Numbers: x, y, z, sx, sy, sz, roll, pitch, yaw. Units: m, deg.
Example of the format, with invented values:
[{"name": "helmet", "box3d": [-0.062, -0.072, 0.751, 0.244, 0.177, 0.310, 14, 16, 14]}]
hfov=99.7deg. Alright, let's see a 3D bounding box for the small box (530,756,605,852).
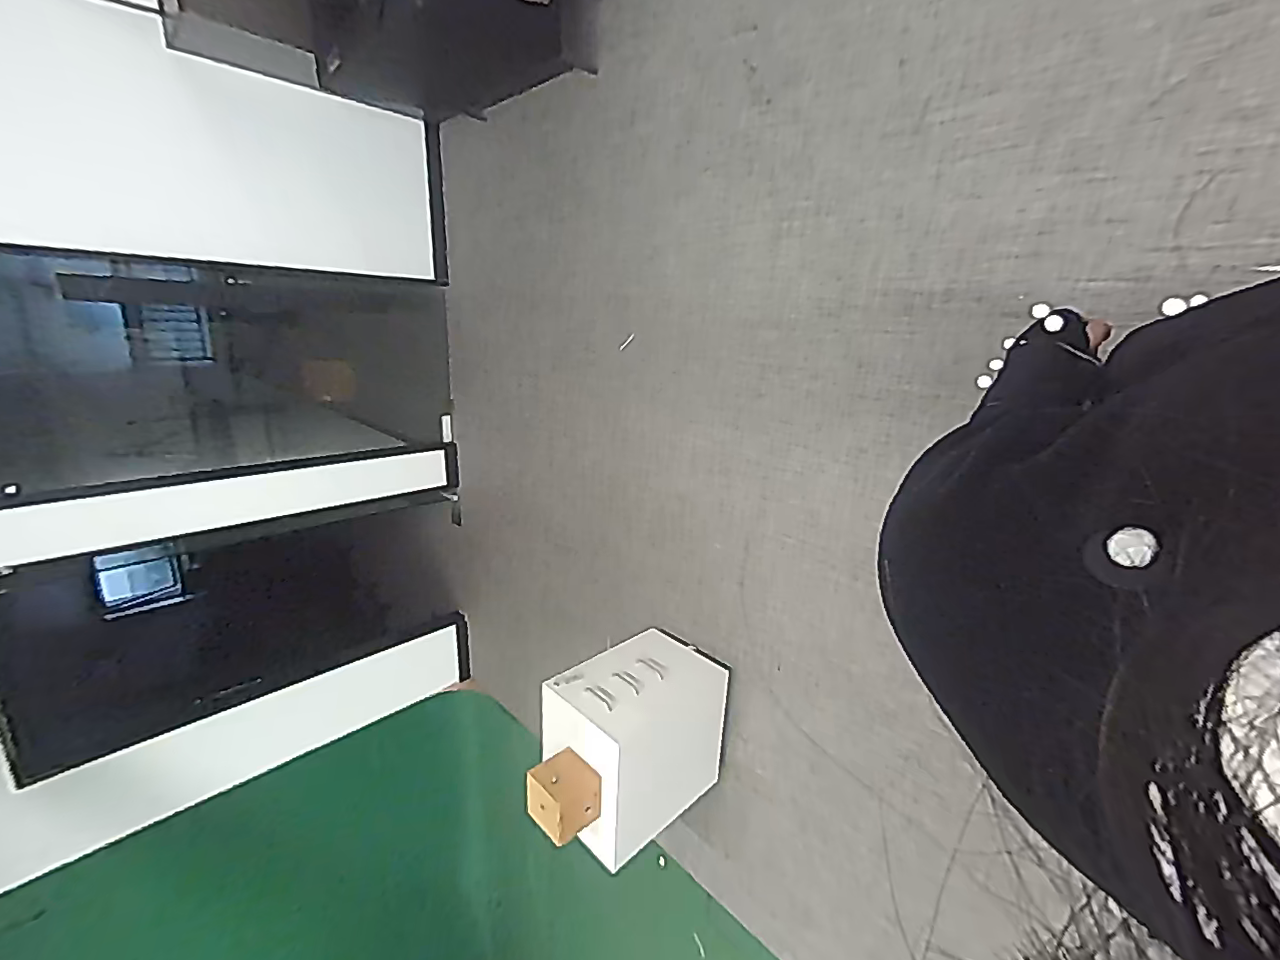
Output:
[{"name": "small box", "box3d": [-0.231, 1.011, 1.711, 0.179, 0.176, 0.168, 17, 111, 44]}]
